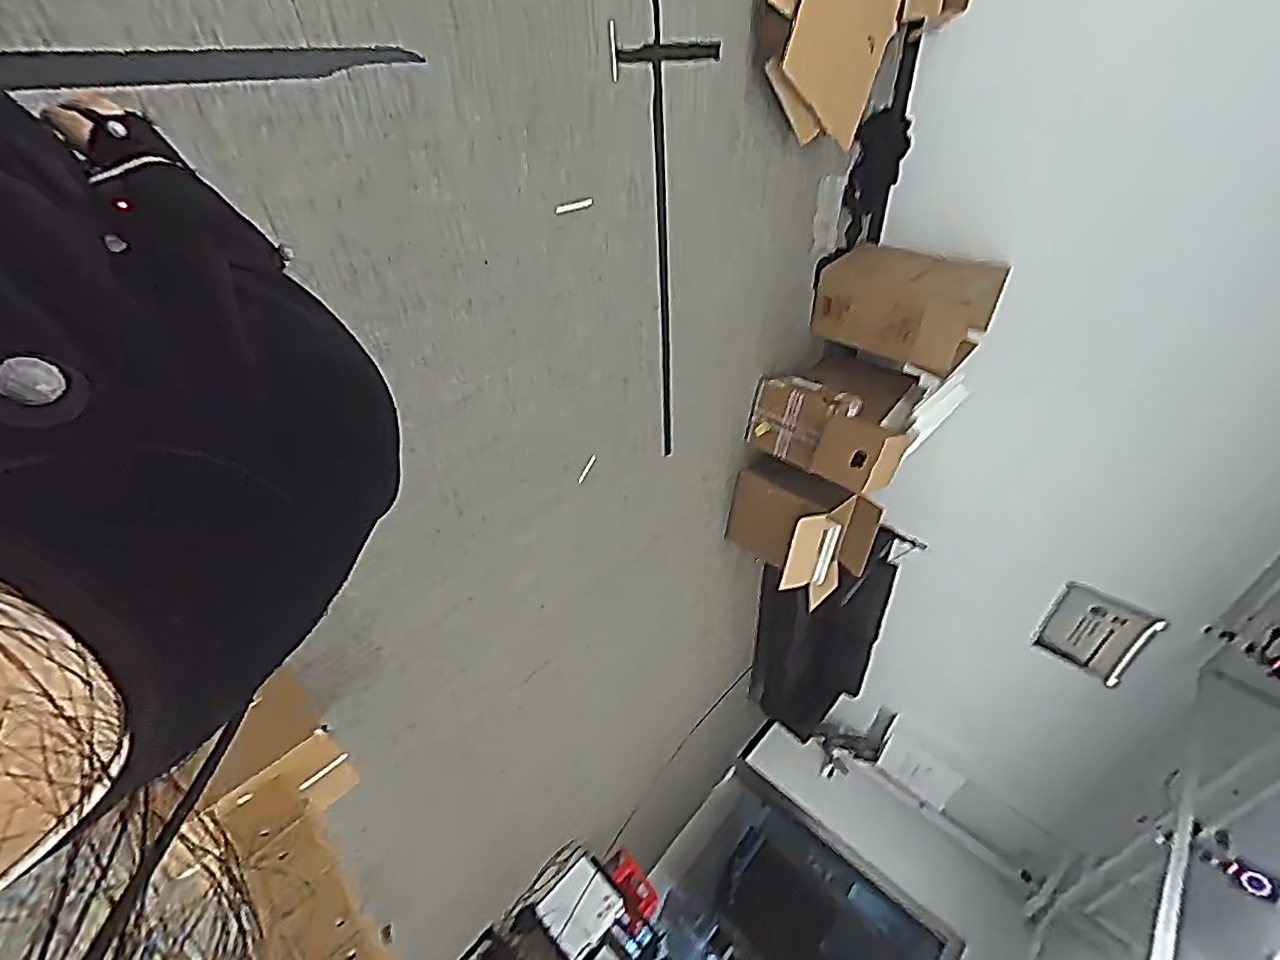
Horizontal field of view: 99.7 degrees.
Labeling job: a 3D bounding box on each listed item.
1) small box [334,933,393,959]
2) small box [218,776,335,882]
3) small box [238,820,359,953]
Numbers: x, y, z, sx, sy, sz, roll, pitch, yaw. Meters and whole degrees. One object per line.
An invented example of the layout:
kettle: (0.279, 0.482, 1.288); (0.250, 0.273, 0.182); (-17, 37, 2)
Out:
small box: (-0.578, 1.086, 1.104); (0.168, 0.176, 0.179); (-33, 135, -35)
small box: (-0.935, 0.911, 1.391); (0.179, 0.176, 0.168); (-35, 136, -32)
small box: (-0.815, 0.964, 1.295); (0.168, 0.176, 0.179); (-35, 136, -33)
